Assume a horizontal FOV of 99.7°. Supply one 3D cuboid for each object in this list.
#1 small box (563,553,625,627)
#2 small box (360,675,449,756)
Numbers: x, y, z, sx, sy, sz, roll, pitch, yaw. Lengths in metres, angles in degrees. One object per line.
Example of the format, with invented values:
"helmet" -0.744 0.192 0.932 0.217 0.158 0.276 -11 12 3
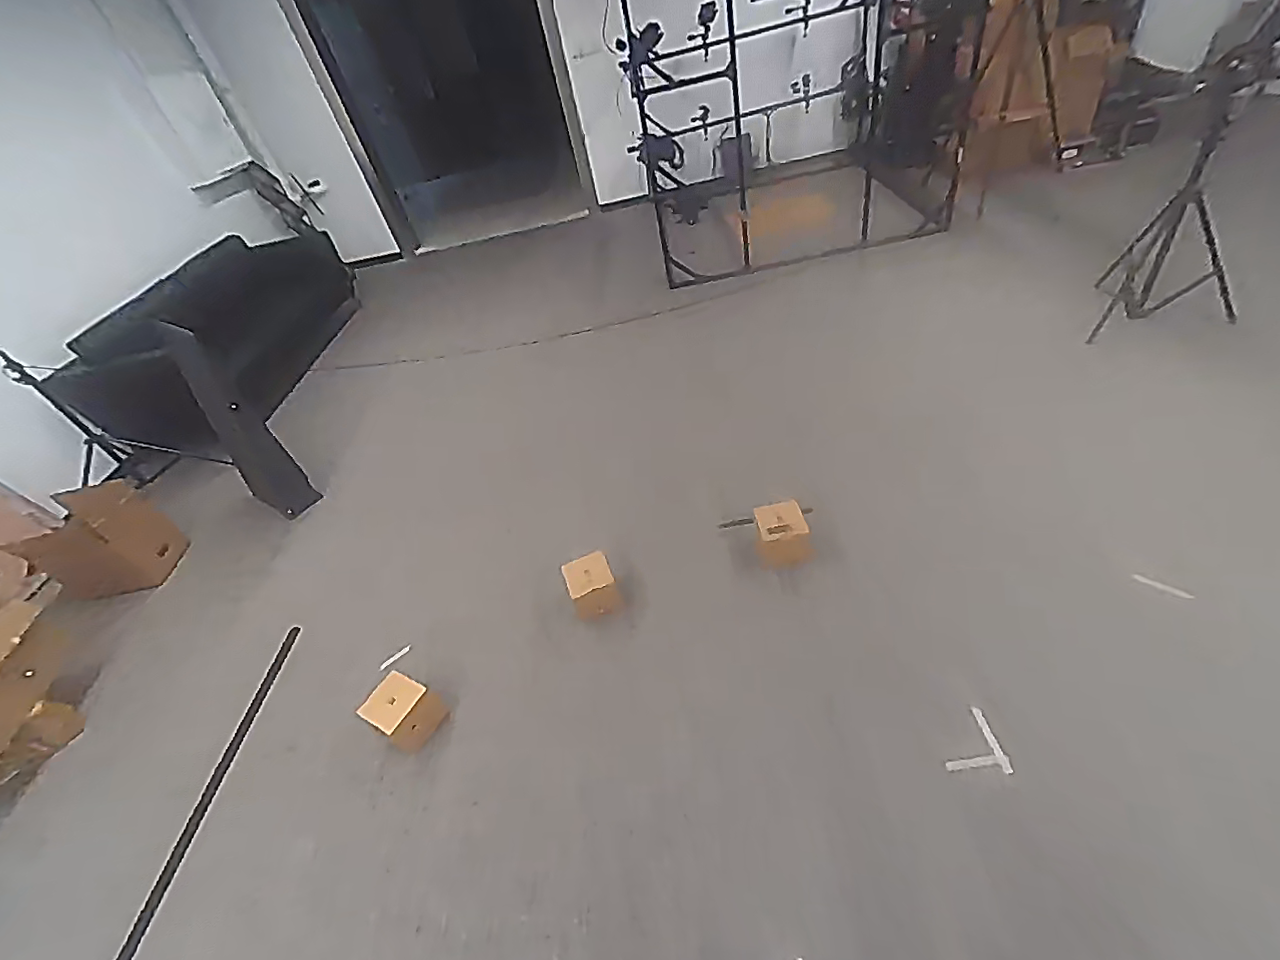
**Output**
"small box" -0.170 0.412 2.020 0.168 0.176 0.179 -23 41 -8
"small box" -0.771 0.783 1.788 0.179 0.176 0.168 12 48 29
